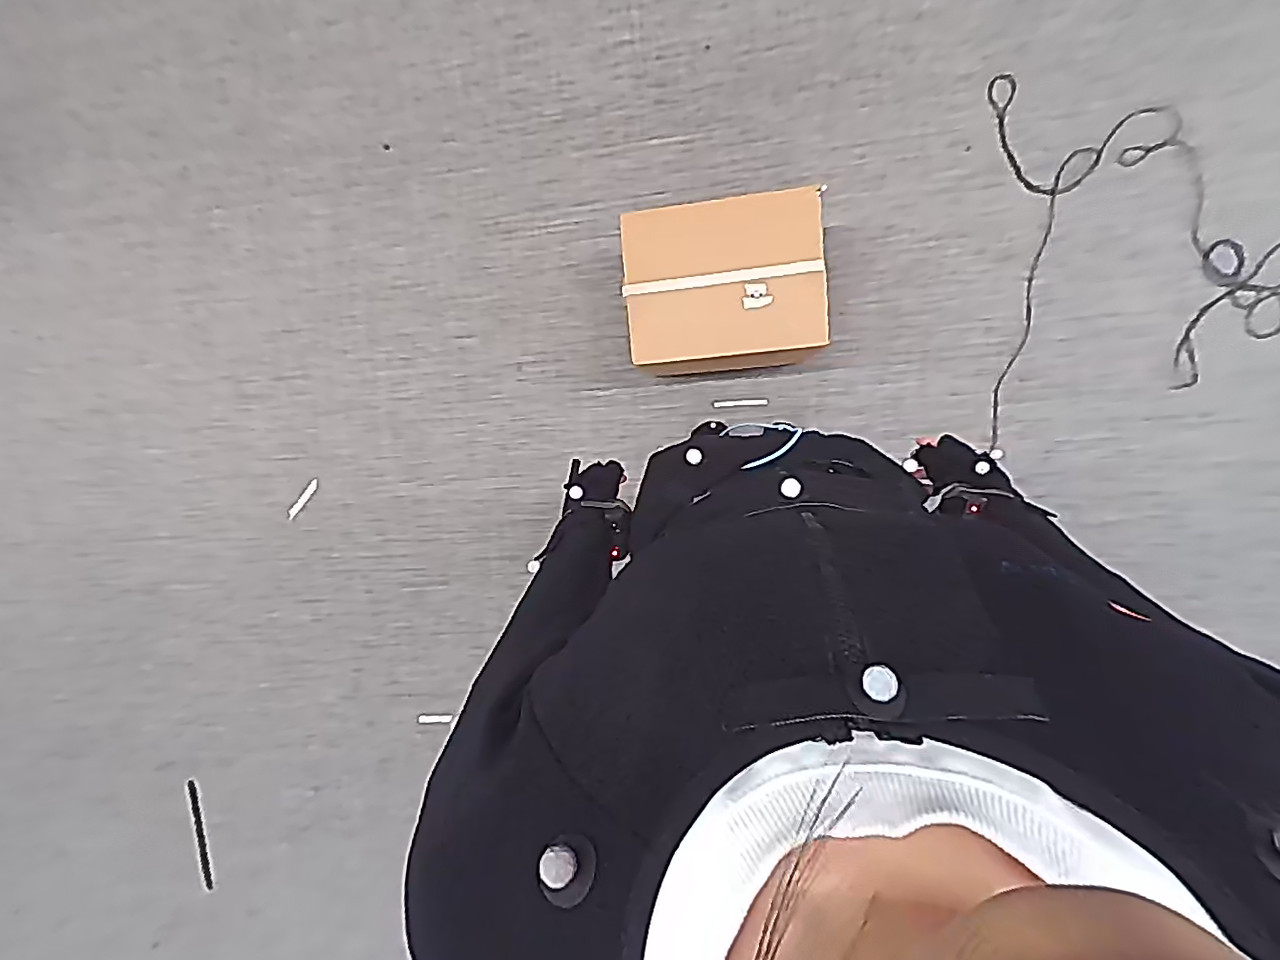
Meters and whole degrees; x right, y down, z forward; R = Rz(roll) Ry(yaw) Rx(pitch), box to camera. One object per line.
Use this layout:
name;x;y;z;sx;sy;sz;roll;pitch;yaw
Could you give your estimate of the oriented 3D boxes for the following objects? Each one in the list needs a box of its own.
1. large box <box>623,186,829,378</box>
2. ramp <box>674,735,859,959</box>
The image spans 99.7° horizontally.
large box;0.193;-0.427;1.257;0.408;0.320;0.320;-4;95;8
ramp;0.334;1.220;1.462;0.509;0.206;0.991;-2;95;10
